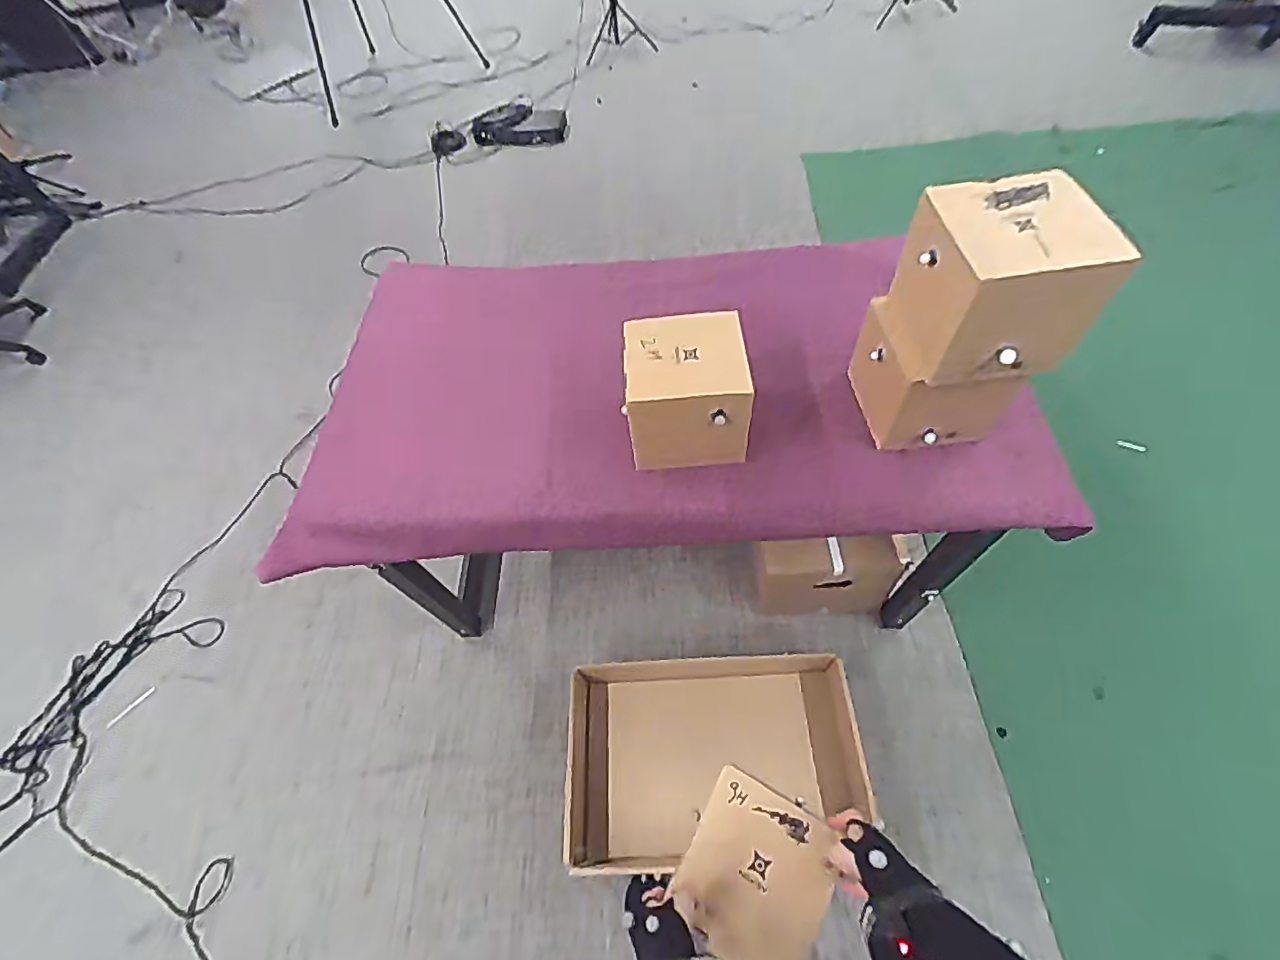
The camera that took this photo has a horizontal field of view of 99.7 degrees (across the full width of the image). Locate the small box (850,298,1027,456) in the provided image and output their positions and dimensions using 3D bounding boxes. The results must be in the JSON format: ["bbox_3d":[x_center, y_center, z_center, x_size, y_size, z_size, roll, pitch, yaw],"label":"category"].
[{"bbox_3d":[0.434,-0.160,0.817,0.168,0.176,0.179,-7,56,4],"label":"small box"}]

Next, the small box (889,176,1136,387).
[{"bbox_3d":[0.434,-0.241,0.672,0.168,0.176,0.179,-7,56,4],"label":"small box"}]

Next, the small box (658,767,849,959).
[{"bbox_3d":[0.147,0.500,0.698,0.168,0.176,0.179,25,71,22],"label":"small box"}]

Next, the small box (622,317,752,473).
[{"bbox_3d":[0.069,-0.126,0.835,0.179,0.176,0.168,-5,56,4],"label":"small box"}]
